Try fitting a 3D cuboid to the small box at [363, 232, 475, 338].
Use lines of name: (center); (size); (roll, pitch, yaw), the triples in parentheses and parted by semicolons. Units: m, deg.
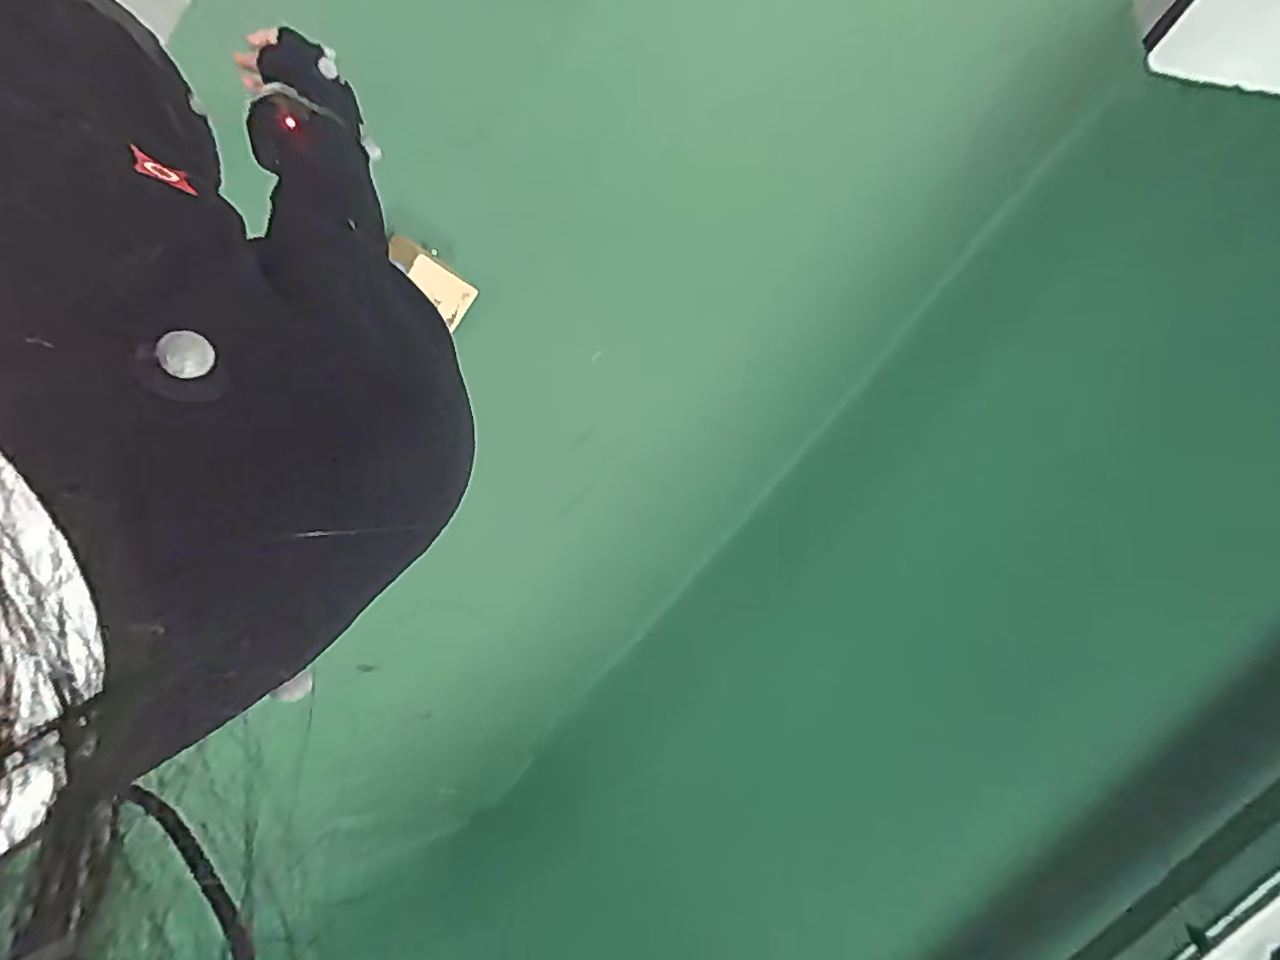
small box: (-0.560, -0.494, 1.361); (0.168, 0.176, 0.179); (-51, 145, 9)
